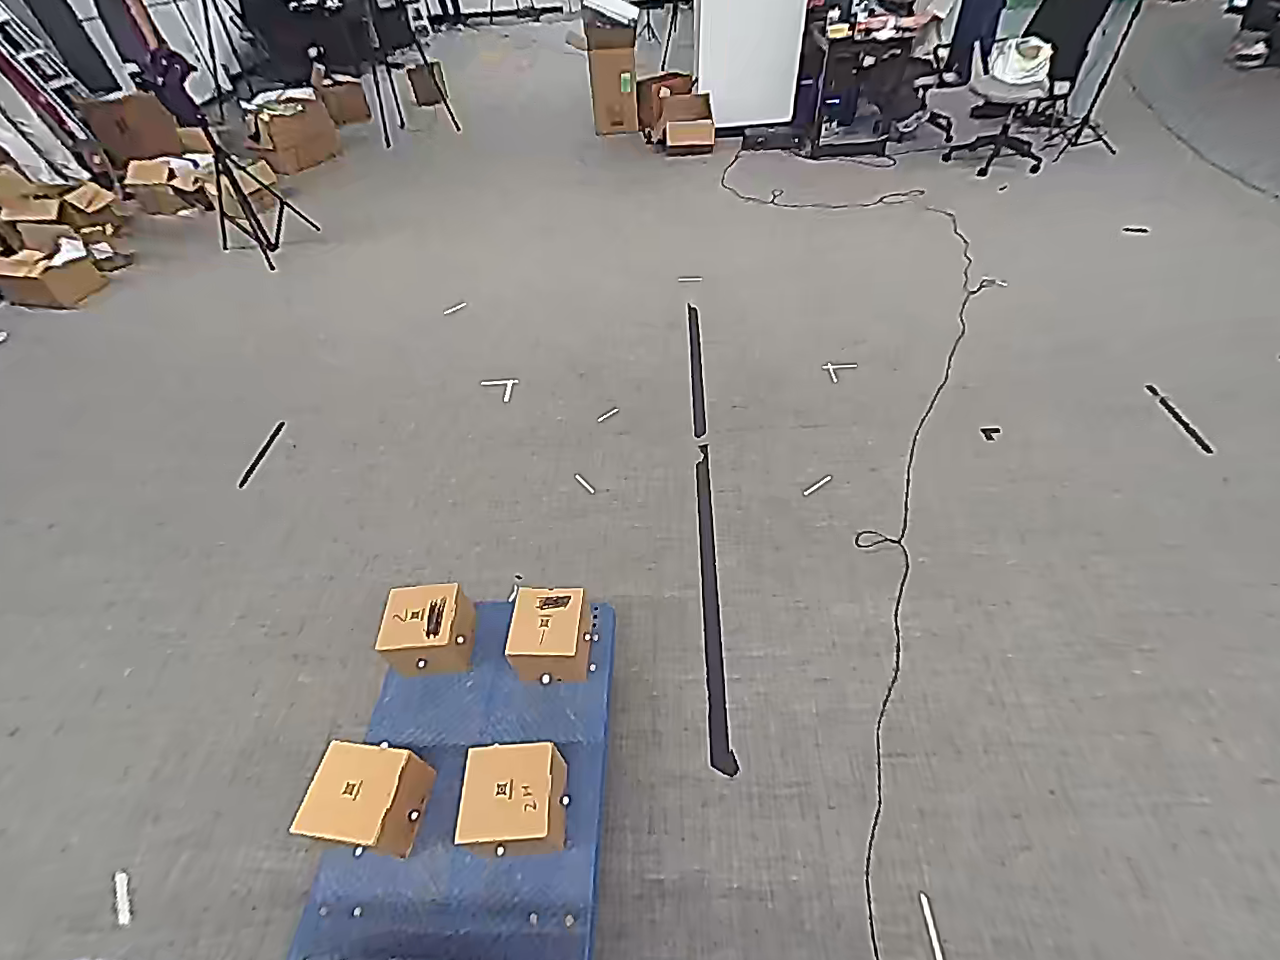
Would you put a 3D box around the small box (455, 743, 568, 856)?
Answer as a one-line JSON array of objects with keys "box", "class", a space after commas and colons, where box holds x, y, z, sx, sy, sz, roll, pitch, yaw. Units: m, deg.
[{"box": [-0.250, 0.651, 1.098, 0.179, 0.176, 0.168, -4, 48, 1], "class": "small box"}]

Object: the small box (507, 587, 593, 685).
[{"box": [-0.213, 0.385, 1.337, 0.168, 0.176, 0.179, 0, 49, 5], "class": "small box"}]

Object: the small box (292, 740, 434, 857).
[{"box": [-0.558, 0.661, 1.117, 0.179, 0.176, 0.168, 5, 47, 6], "class": "small box"}]
